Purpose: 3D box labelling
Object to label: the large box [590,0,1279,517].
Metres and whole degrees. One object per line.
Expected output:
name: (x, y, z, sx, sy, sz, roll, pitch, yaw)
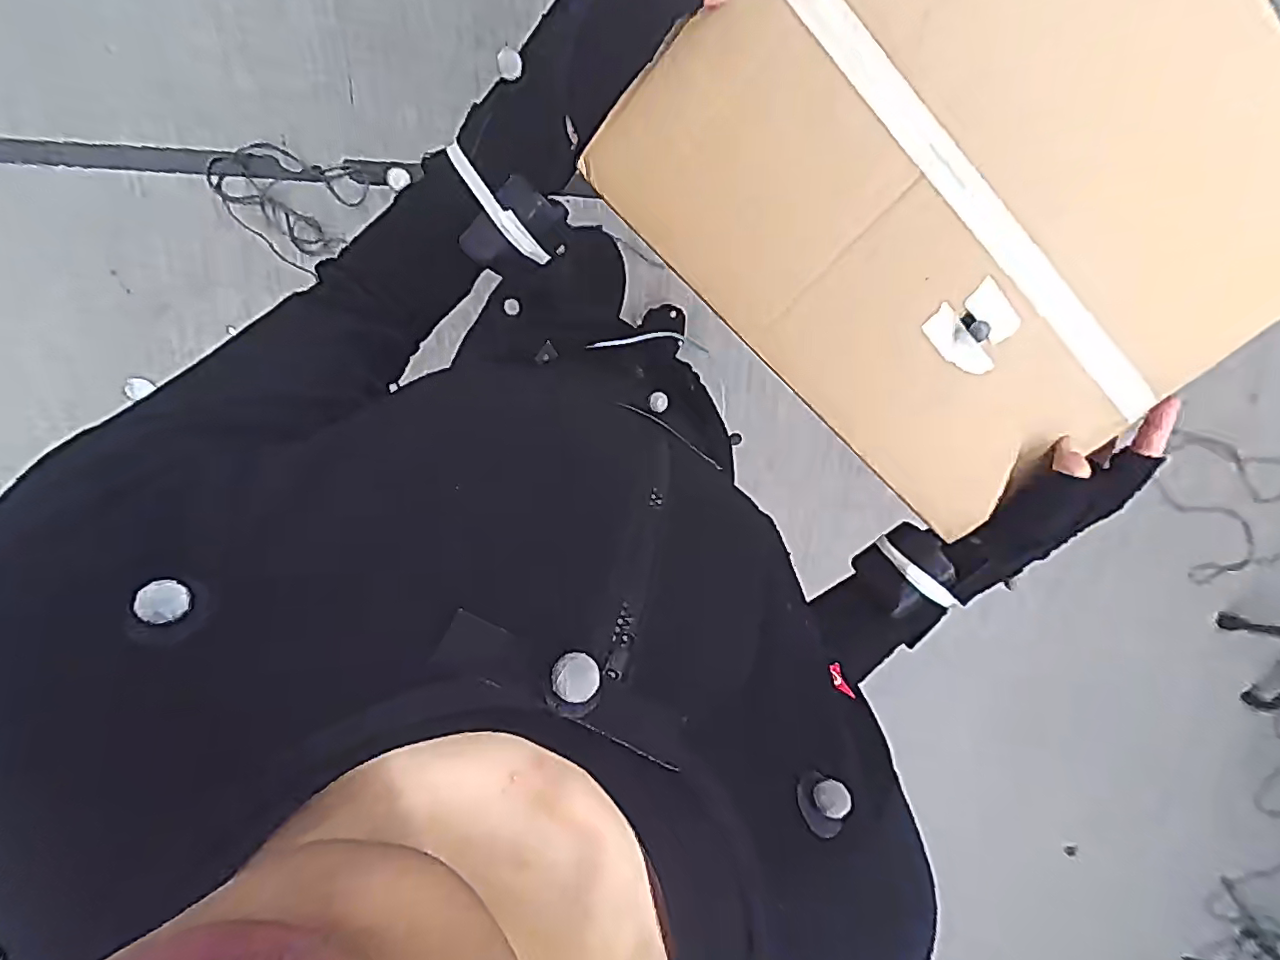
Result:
large box: (0.220, -0.252, 0.485, 0.408, 0.320, 0.320, 40, 114, -14)
